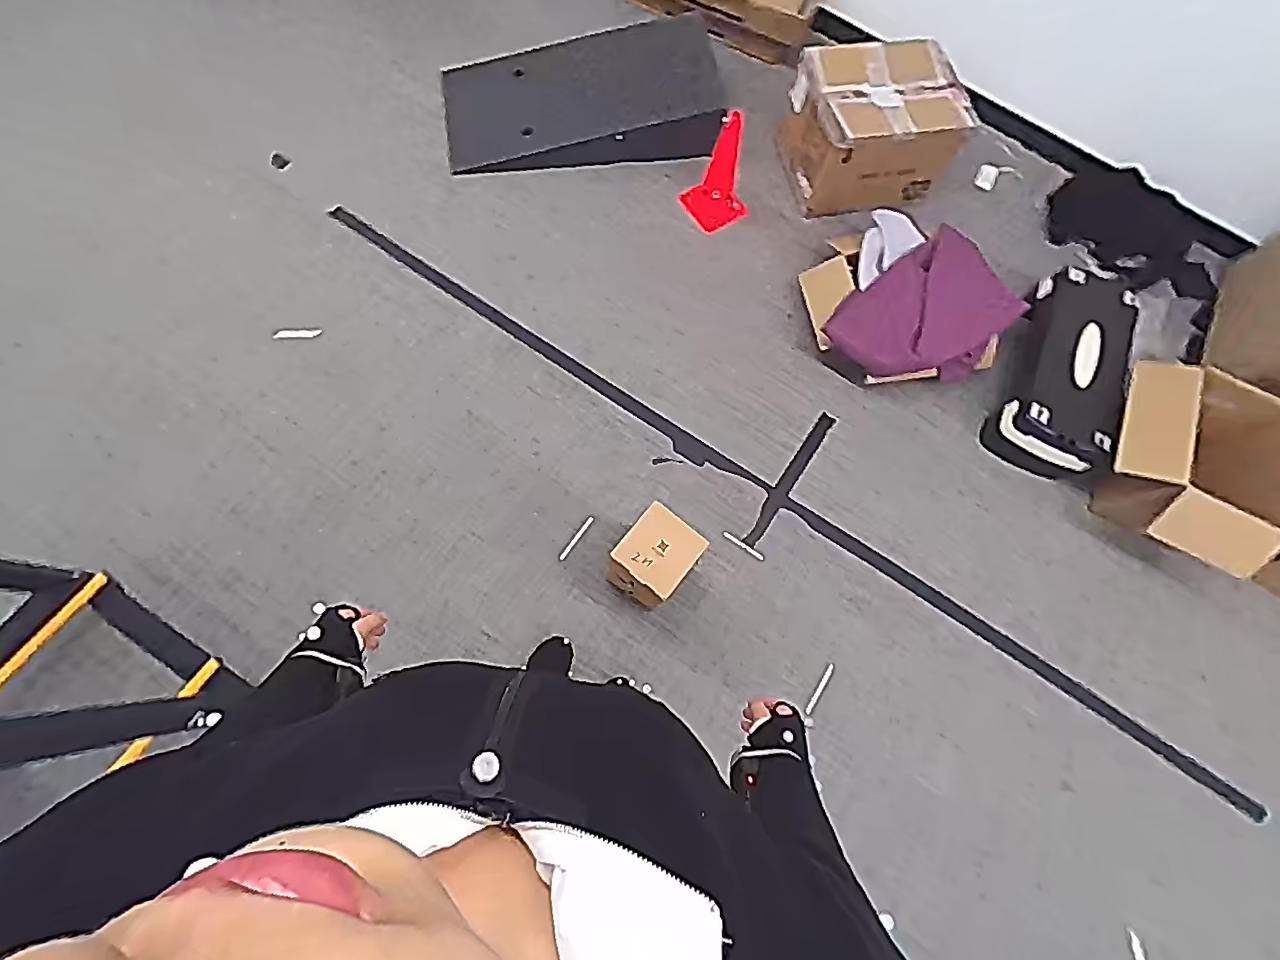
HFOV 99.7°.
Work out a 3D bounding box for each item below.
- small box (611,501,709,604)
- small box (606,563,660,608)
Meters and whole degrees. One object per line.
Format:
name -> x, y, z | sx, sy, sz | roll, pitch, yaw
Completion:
small box -> 0.040, 0.183, 1.326 | 0.168, 0.176, 0.179 | 39, 74, 8
small box -> 0.022, 0.234, 1.483 | 0.168, 0.176, 0.179 | 34, 73, 6
